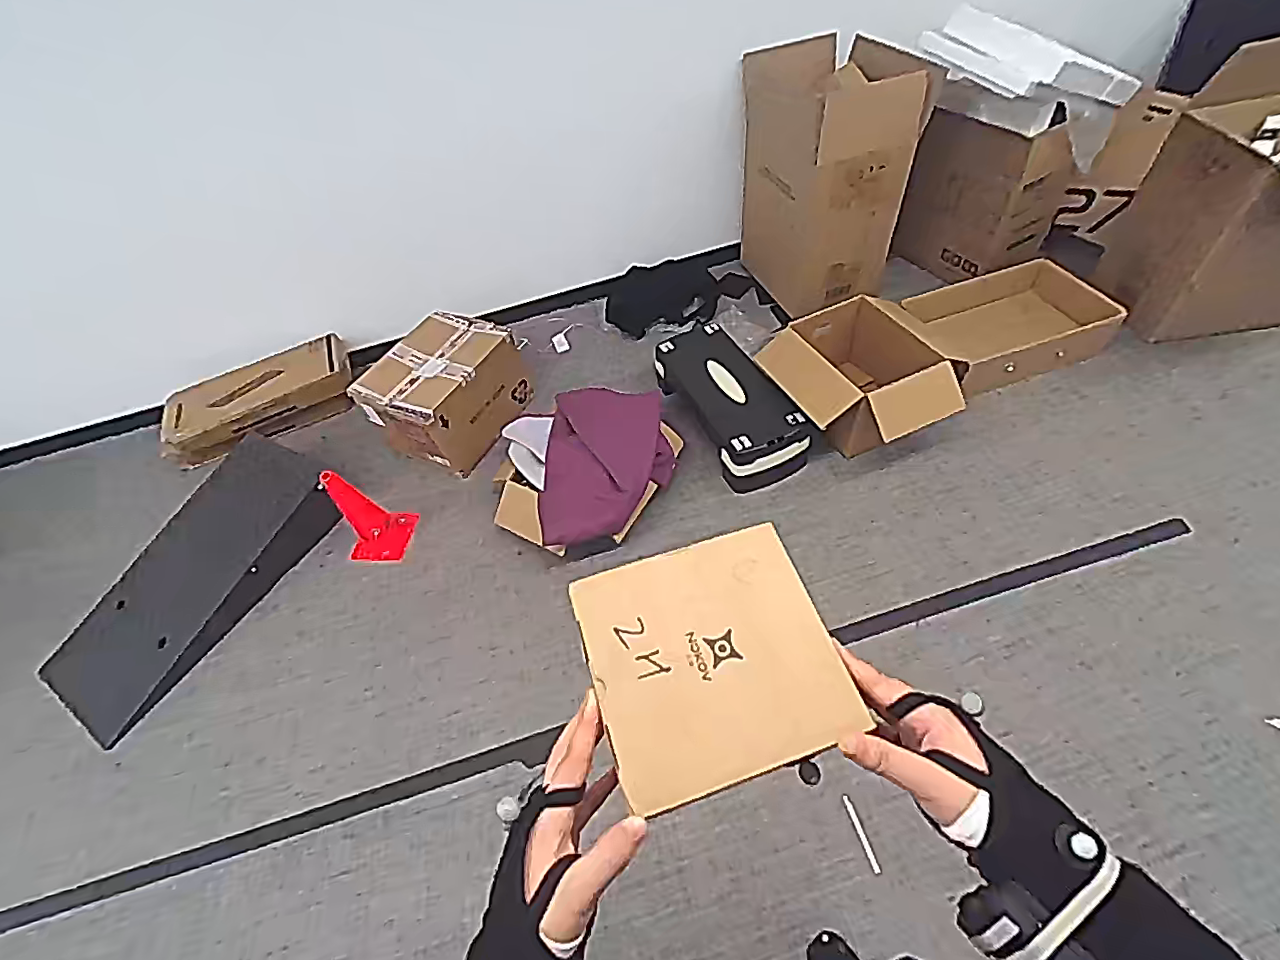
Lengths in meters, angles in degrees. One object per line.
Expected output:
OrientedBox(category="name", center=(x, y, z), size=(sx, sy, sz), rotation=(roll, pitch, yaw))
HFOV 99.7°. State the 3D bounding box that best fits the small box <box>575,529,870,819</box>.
OrientedBox(category="small box", center=(0.053, 0.167, 0.462), size=(0.179, 0.176, 0.168), rotation=(-15, 60, -9))
